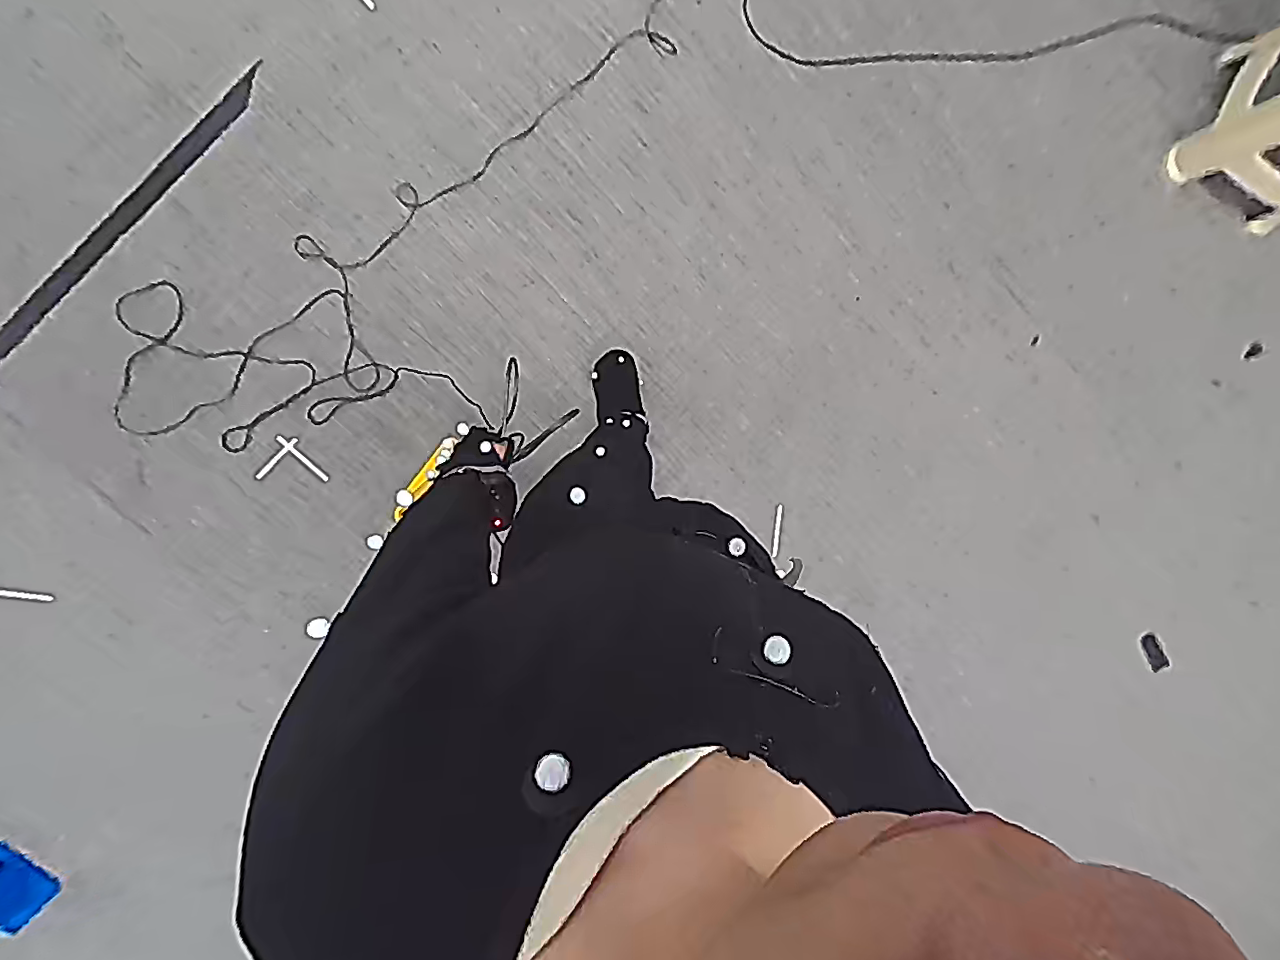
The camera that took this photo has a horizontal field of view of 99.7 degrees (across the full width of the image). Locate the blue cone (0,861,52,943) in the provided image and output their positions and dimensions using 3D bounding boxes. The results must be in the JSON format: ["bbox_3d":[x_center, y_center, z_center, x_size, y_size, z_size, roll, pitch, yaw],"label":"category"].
[{"bbox_3d":[-1.597,1.076,1.195,0.193,0.380,0.192,-43,98,2],"label":"blue cone"}]
